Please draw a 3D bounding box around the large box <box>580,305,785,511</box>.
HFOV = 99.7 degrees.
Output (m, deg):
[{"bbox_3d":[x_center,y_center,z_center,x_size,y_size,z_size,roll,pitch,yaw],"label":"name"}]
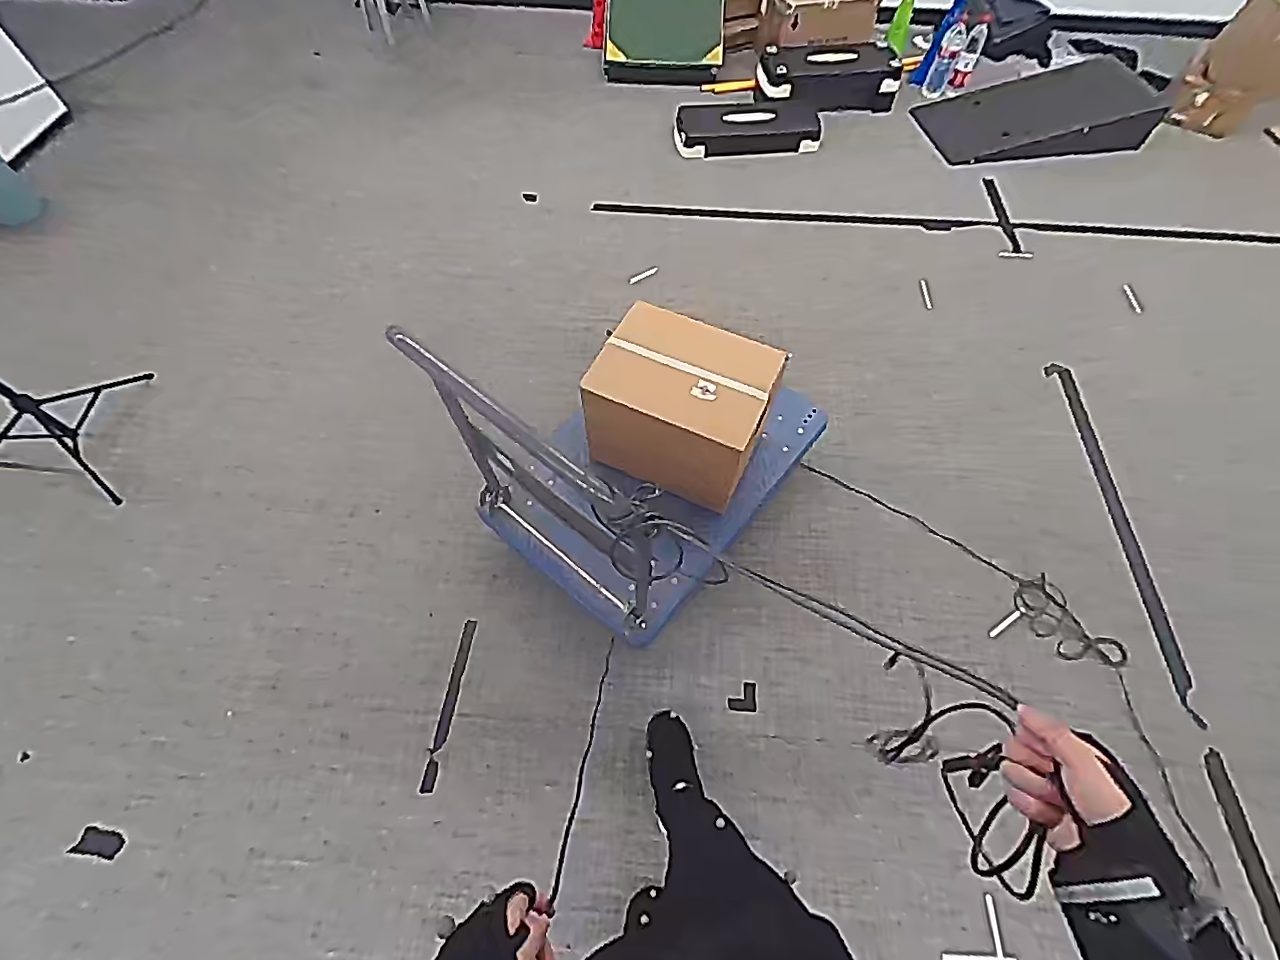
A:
[{"bbox_3d":[0.098,-0.178,1.383,0.408,0.320,0.320,23,63,11],"label":"large box"}]
